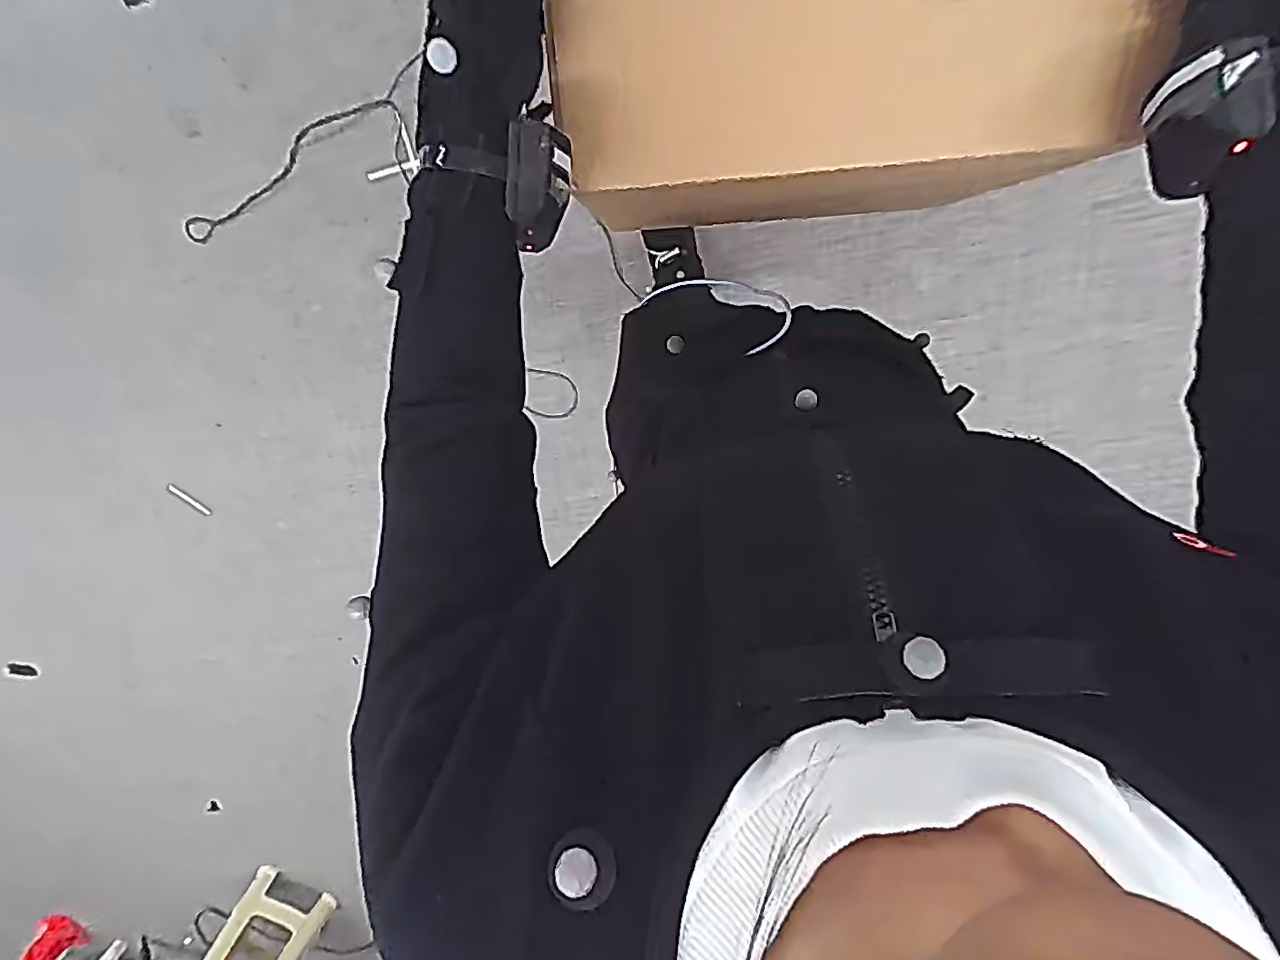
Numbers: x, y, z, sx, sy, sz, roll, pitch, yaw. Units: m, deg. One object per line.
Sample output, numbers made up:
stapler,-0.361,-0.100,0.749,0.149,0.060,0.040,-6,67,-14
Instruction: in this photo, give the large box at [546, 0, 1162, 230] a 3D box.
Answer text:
large box,0.134,-0.423,0.473,0.408,0.320,0.320,-4,110,4
